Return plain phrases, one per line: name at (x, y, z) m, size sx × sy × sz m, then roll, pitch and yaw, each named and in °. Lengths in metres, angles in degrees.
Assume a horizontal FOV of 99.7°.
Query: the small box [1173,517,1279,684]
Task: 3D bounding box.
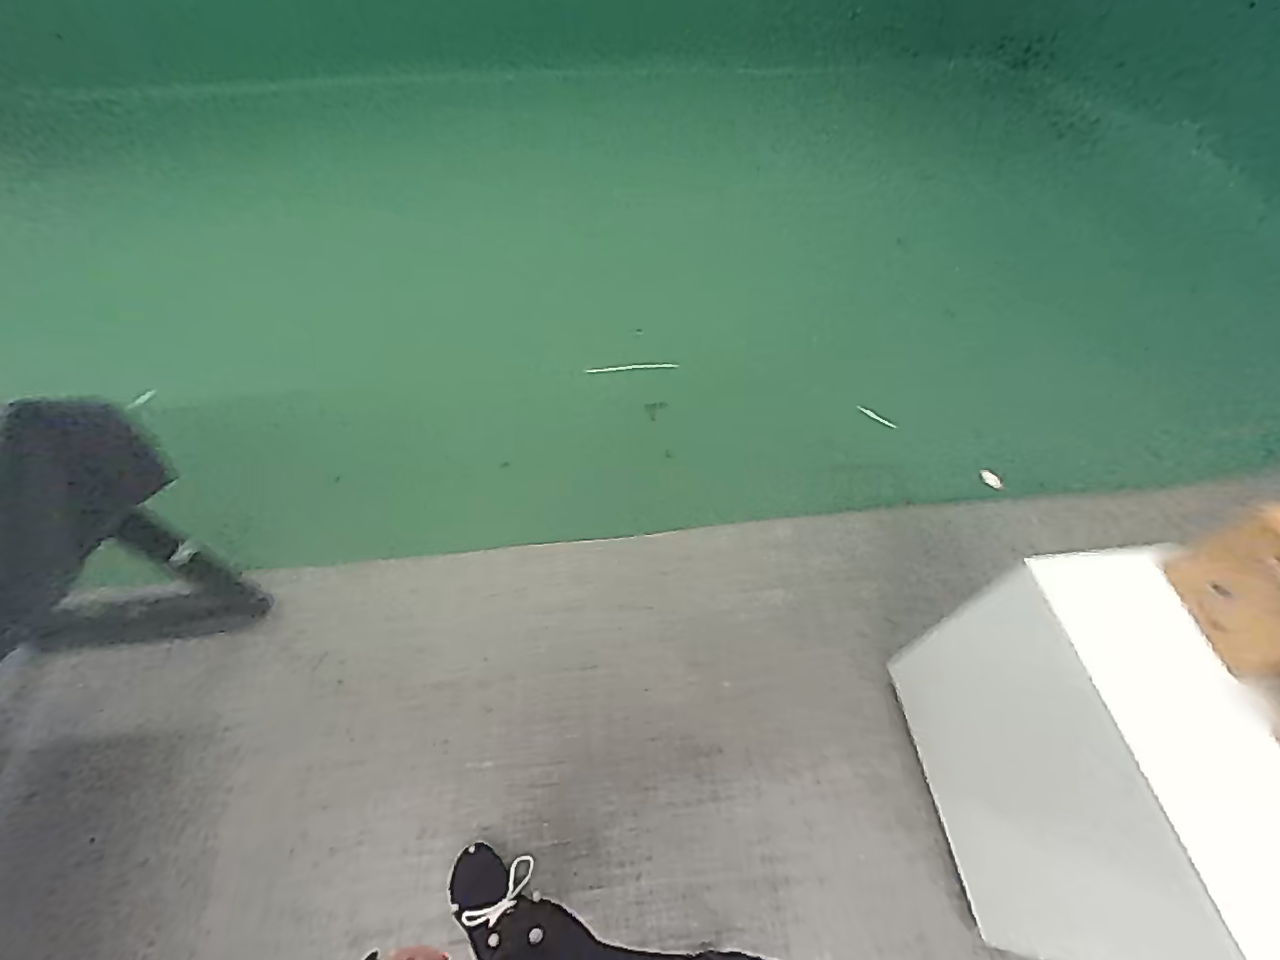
small box at (0.869, 0.154, 0.692) m, size 0.179 × 0.176 × 0.168 m, roll -4°, pitch 56°, yaw -2°
